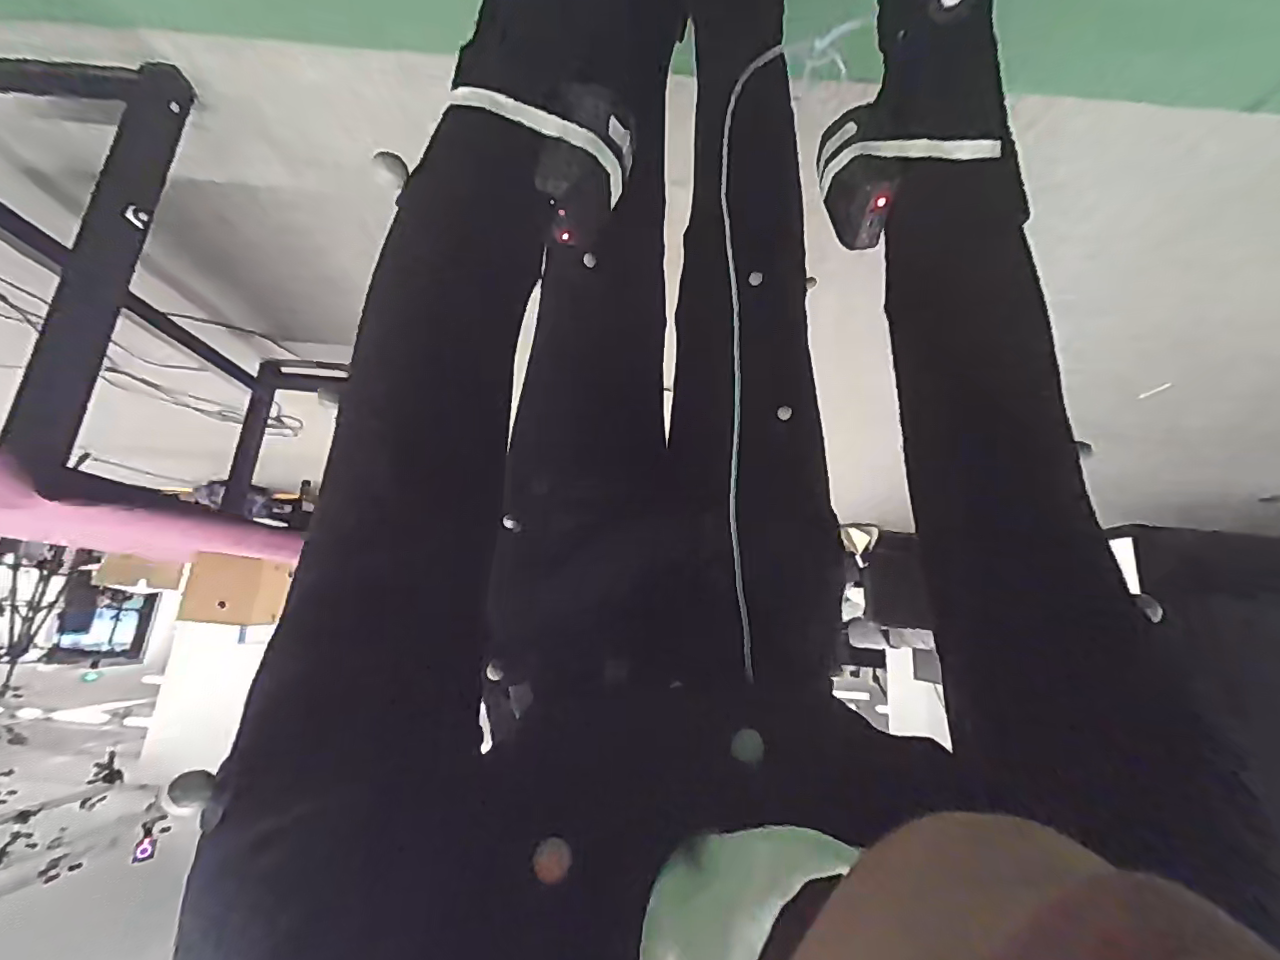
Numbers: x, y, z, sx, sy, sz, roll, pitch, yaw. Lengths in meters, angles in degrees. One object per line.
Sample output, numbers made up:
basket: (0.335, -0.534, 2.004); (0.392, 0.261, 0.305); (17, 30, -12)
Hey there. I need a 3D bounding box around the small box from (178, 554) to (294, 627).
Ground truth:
small box: (-1.039, 0.289, 1.411); (0.179, 0.176, 0.168); (6, 164, -2)
